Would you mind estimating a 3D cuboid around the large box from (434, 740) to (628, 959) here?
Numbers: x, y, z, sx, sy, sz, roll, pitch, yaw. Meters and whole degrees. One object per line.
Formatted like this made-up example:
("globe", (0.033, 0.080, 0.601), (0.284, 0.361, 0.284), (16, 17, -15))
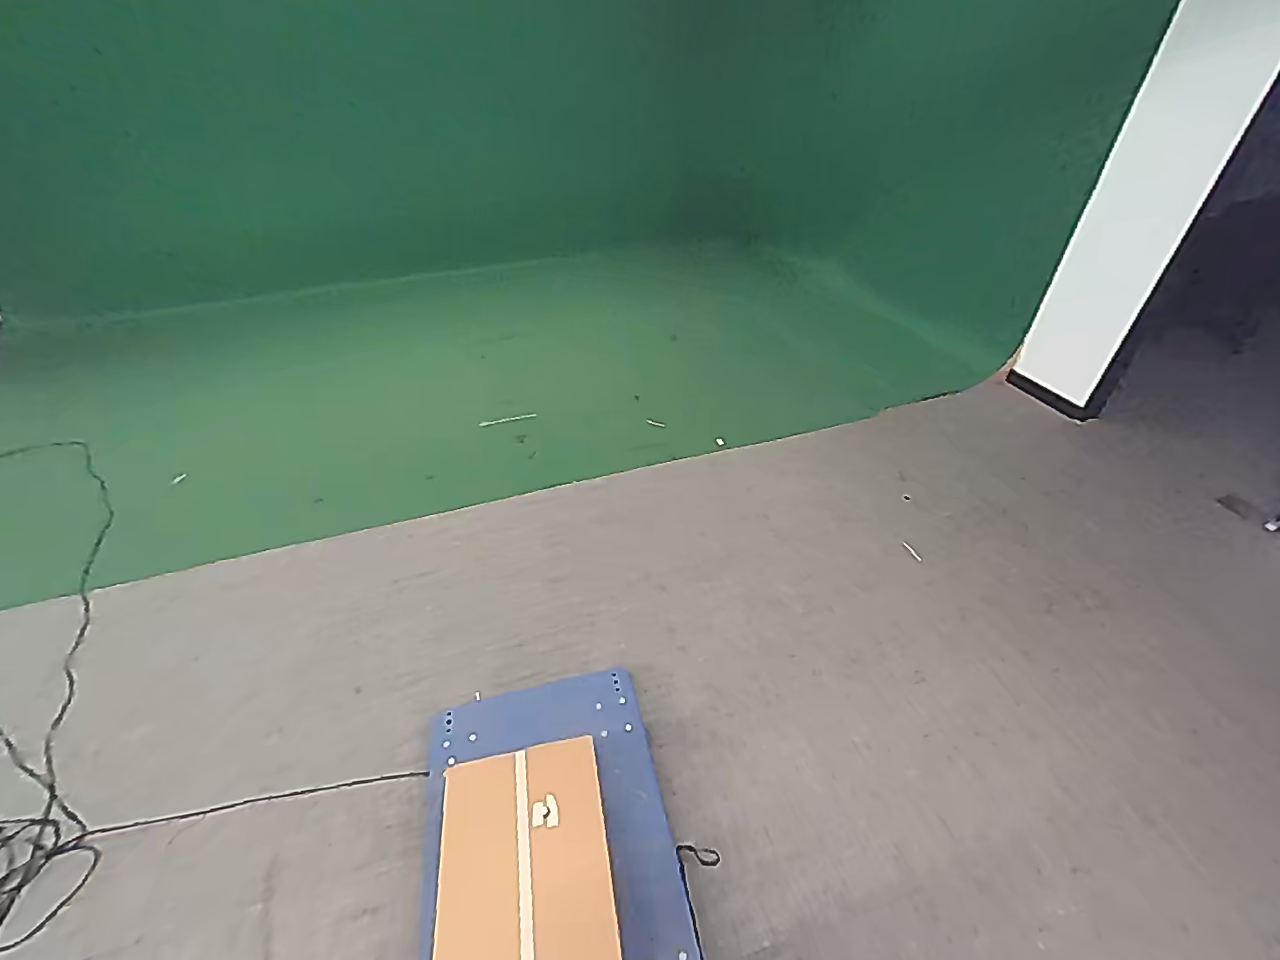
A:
("large box", (-0.208, 0.820, 1.091), (0.320, 0.320, 0.408), (-8, 40, -8))
